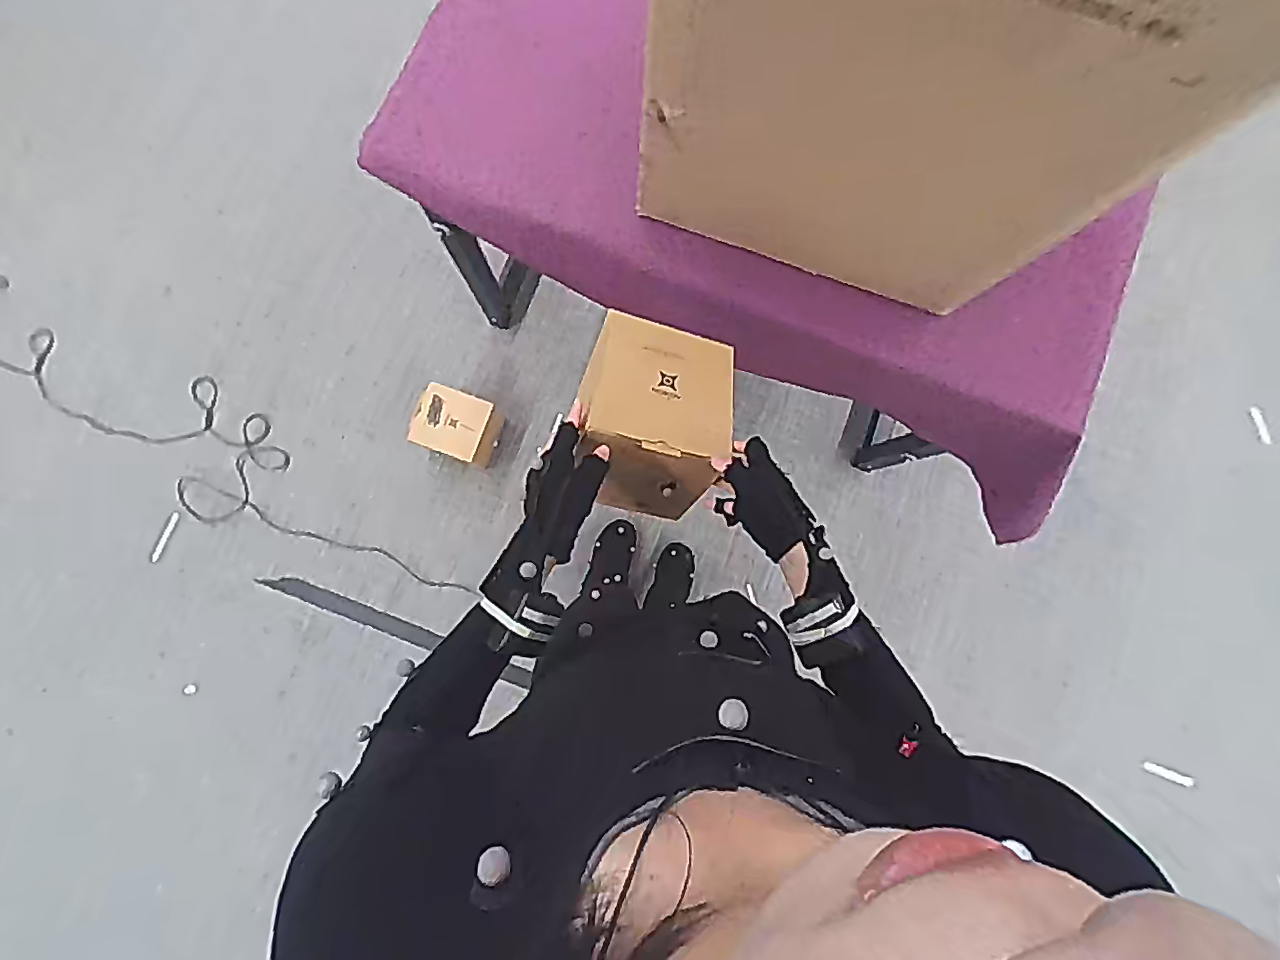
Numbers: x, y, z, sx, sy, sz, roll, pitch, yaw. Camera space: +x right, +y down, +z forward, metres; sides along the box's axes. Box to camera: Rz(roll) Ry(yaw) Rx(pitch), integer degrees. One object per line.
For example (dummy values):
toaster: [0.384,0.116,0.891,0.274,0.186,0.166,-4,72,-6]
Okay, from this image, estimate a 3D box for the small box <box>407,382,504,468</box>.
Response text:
small box: [-0.484,-0.138,1.448,0.179,0.176,0.168,20,84,-2]

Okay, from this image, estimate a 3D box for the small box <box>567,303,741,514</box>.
small box: [0.013,-0.077,0.671,0.168,0.176,0.179,14,59,-14]
